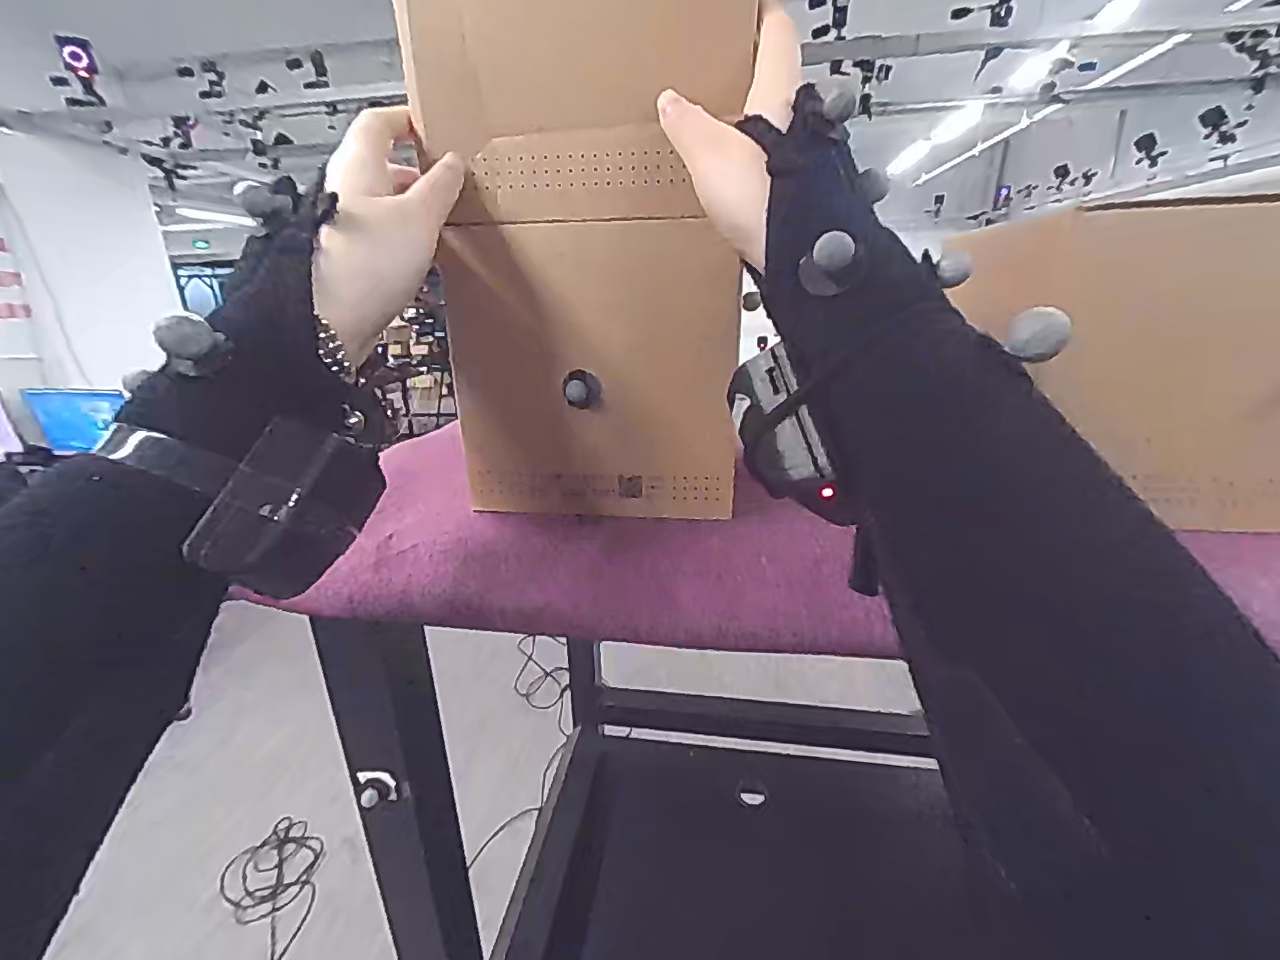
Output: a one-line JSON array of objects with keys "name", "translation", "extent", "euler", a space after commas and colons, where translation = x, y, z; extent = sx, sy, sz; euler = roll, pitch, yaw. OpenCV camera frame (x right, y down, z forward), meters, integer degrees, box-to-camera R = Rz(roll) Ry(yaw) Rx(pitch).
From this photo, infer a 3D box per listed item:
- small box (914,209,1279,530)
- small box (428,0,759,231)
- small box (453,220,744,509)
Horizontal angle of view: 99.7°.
[{"name": "small box", "translation": [0.307, -0.073, 0.357], "extent": [0.179, 0.176, 0.168], "euler": [1, 18, 8]}, {"name": "small box", "translation": [-0.021, -0.238, 0.342], "extent": [0.179, 0.176, 0.168], "euler": [3, 19, 5]}, {"name": "small box", "translation": [-0.012, -0.085, 0.395], "extent": [0.168, 0.176, 0.179], "euler": [3, 19, 7]}]
